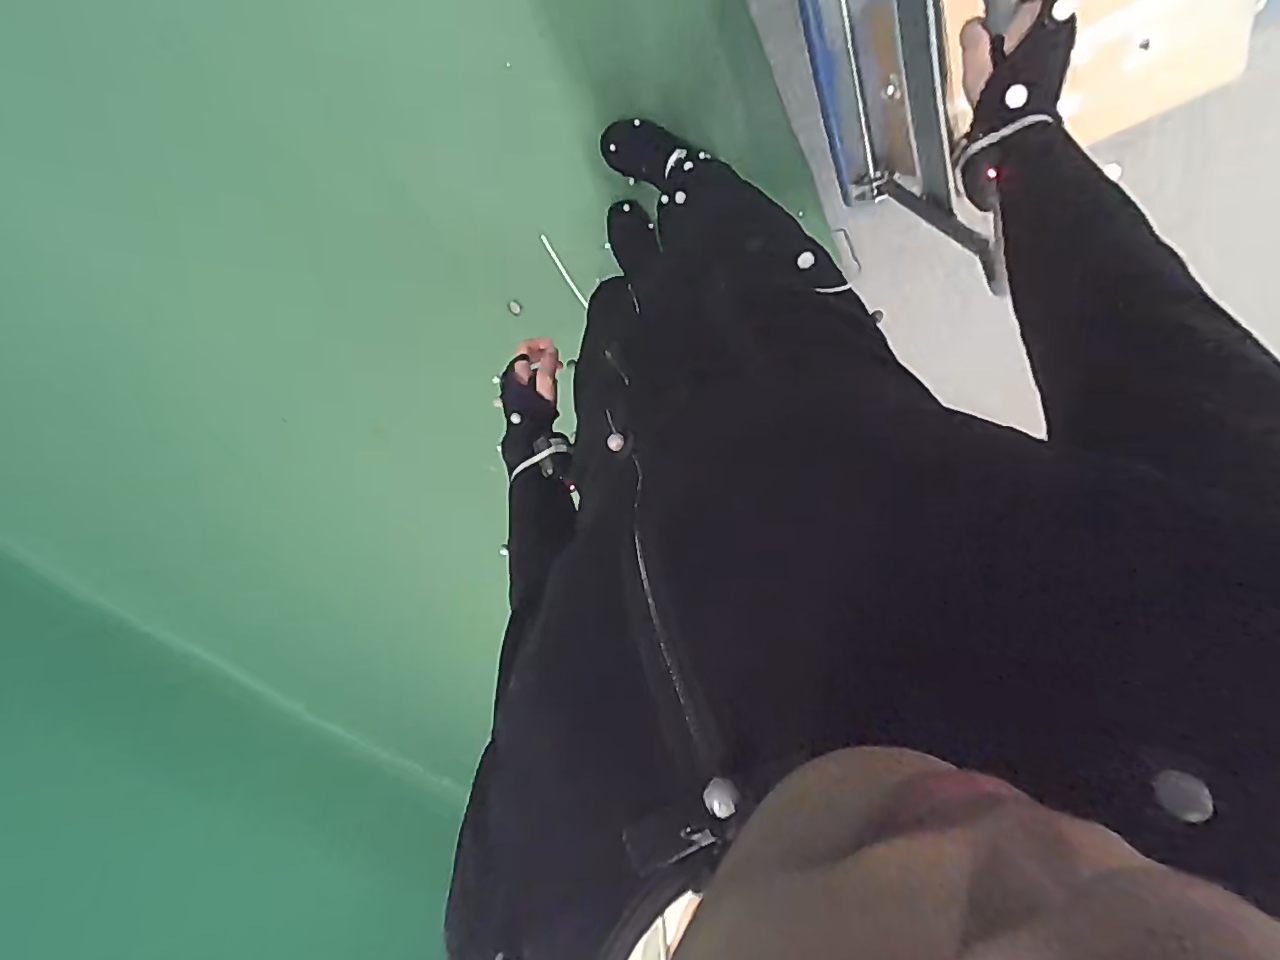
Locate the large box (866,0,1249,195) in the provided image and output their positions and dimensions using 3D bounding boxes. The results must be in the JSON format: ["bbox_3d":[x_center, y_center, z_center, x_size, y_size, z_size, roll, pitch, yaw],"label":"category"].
[{"bbox_3d":[0.660,-0.752,0.908,0.408,0.320,0.320,-22,125,15],"label":"large box"}]
